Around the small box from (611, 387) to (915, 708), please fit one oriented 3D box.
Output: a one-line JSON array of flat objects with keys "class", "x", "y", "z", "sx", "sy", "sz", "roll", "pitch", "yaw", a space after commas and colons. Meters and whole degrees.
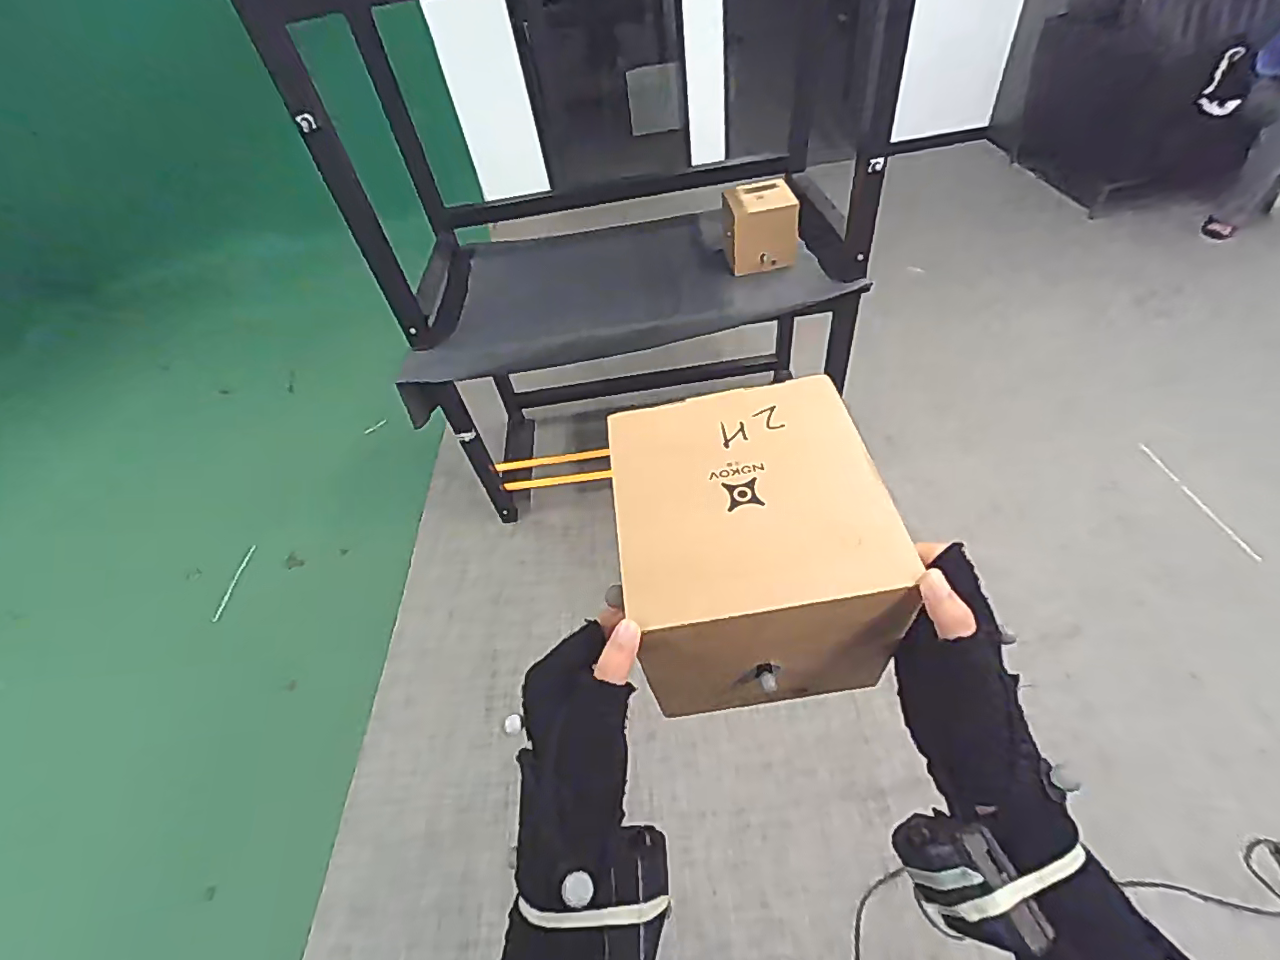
[{"class": "small box", "x": 0.078, "y": 0.060, "z": 0.415, "sx": 0.168, "sy": 0.176, "sz": 0.179, "roll": -10, "pitch": 50, "yaw": 3}]
